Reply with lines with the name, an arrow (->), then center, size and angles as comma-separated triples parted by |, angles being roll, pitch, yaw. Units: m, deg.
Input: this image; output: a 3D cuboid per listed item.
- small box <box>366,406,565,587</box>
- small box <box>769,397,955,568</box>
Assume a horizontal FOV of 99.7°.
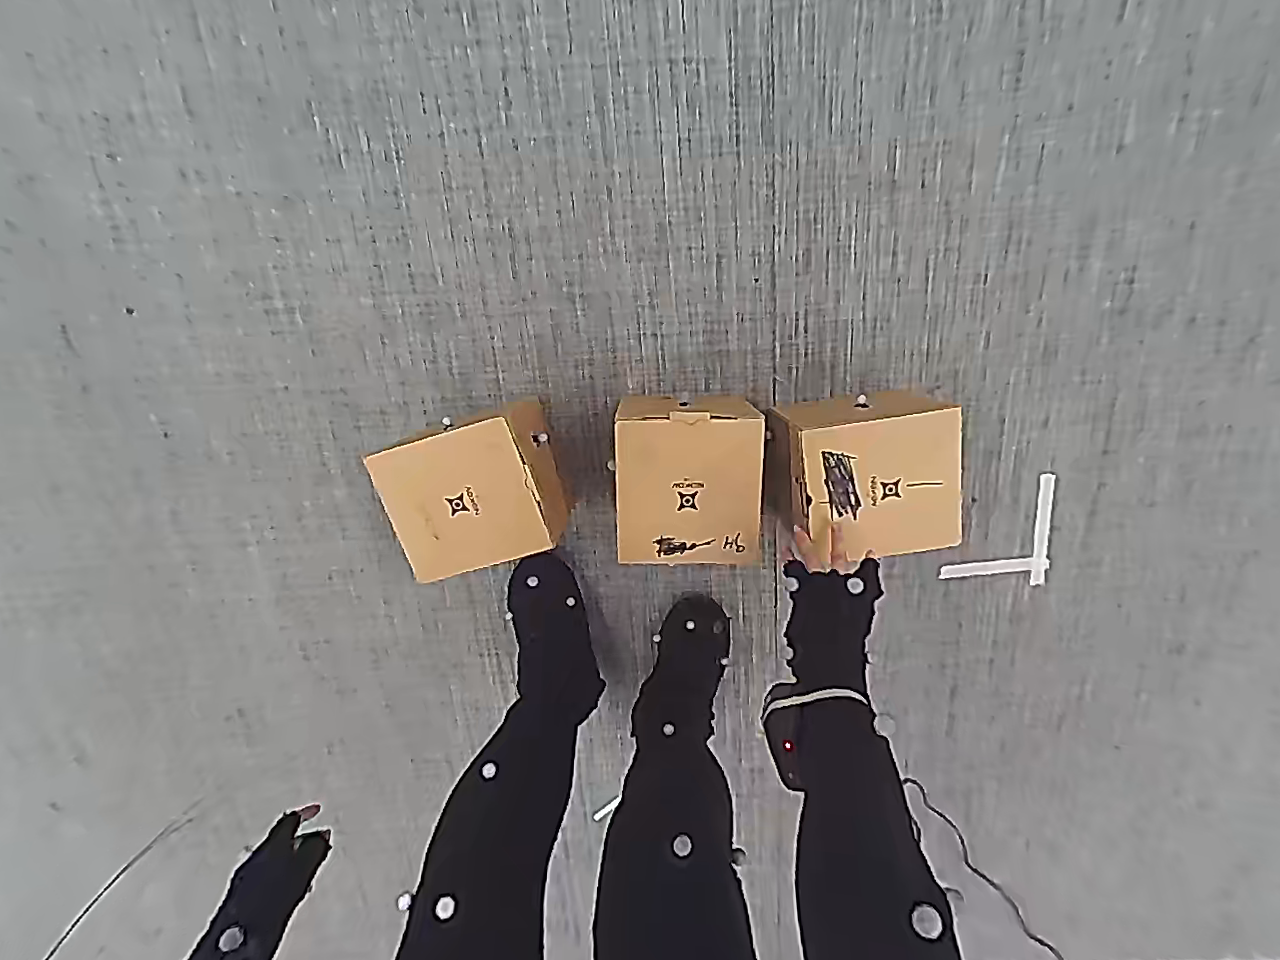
small box -> -0.204, 0.011, 0.699 | 0.179, 0.176, 0.168 | -16, 104, 6
small box -> 0.268, -0.005, 0.687 | 0.179, 0.176, 0.168 | -8, 106, 2
